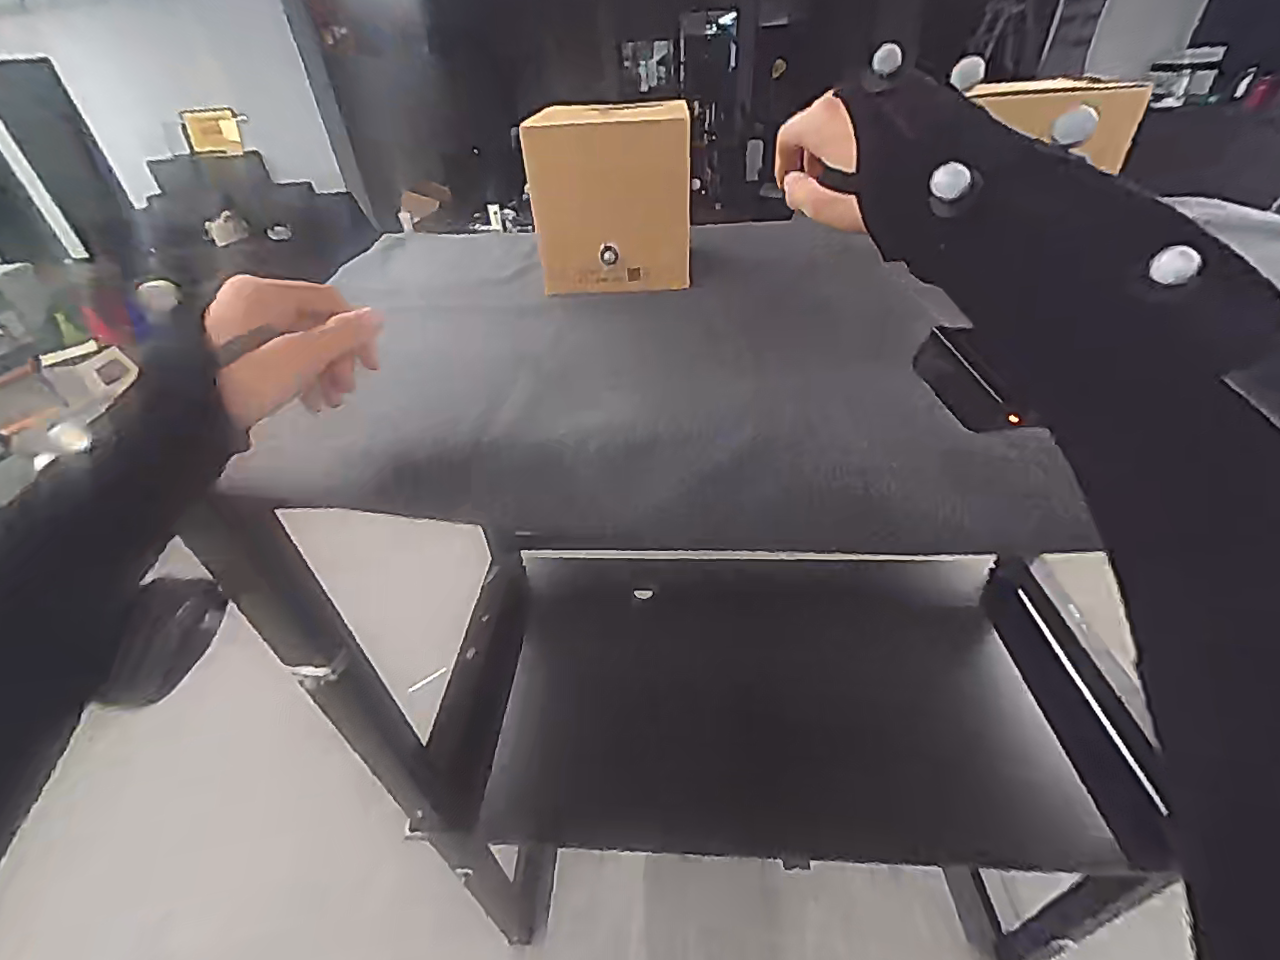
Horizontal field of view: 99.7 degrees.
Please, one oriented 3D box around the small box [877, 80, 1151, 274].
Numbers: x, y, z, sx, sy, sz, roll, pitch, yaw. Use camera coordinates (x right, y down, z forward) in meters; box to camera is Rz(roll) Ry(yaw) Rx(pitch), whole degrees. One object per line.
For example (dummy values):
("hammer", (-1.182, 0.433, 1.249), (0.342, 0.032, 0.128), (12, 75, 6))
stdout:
("small box", (0.392, -0.340, 0.610), (0.179, 0.176, 0.168), (1, 37, 6))
